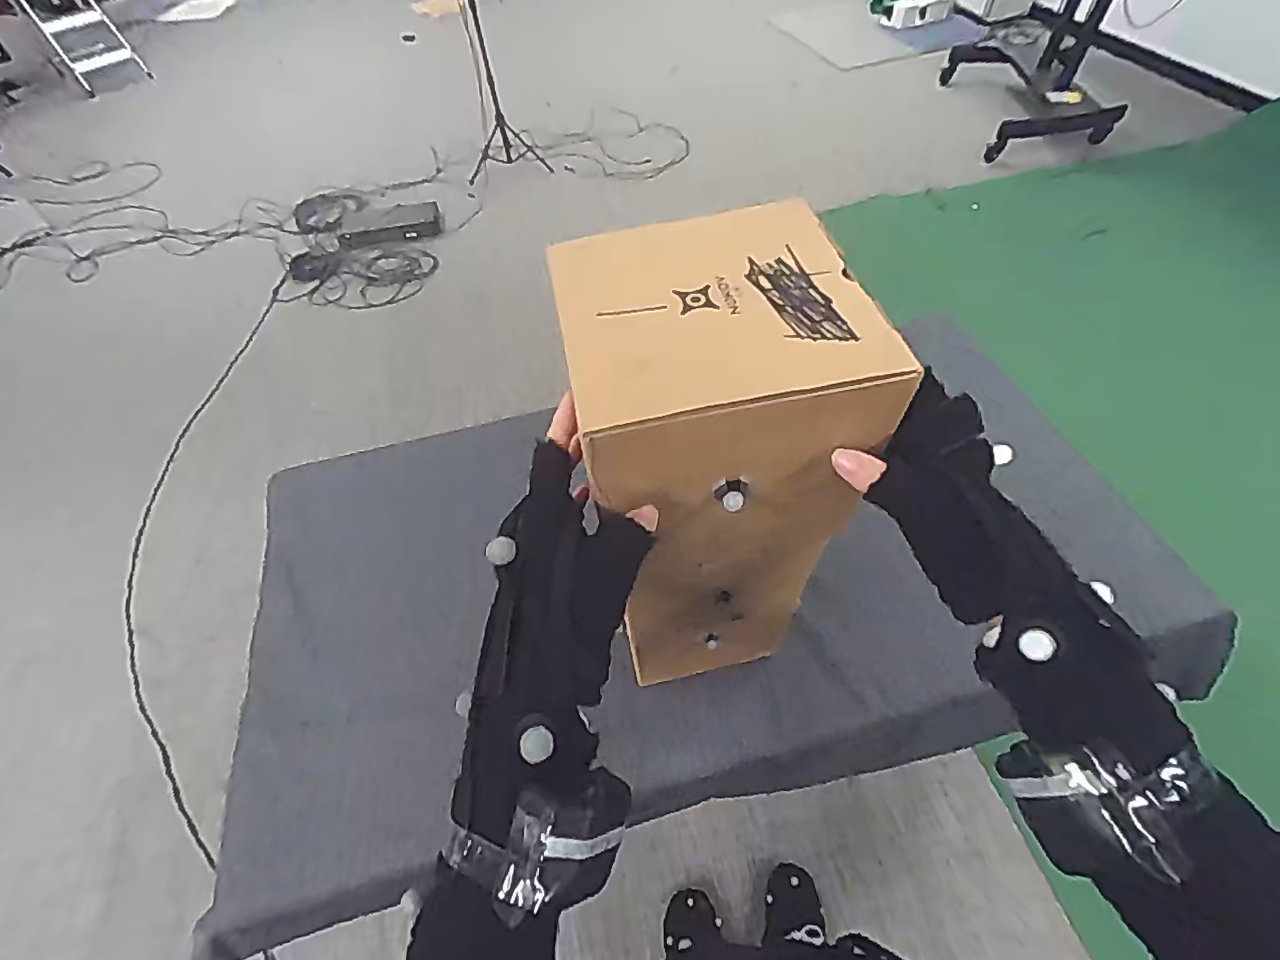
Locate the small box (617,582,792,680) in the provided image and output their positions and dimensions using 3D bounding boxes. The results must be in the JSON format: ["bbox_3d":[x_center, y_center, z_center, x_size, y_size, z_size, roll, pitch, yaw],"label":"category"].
[{"bbox_3d":[0.062,0.129,0.662,0.179,0.176,0.168,-12,55,-6],"label":"small box"}]

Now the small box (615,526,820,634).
[{"bbox_3d":[0.051,0.036,0.528,0.168,0.176,0.179,-12,55,-5],"label":"small box"}]

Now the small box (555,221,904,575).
[{"bbox_3d":[0.045,-0.052,0.388,0.179,0.176,0.168,-11,54,-3],"label":"small box"}]
